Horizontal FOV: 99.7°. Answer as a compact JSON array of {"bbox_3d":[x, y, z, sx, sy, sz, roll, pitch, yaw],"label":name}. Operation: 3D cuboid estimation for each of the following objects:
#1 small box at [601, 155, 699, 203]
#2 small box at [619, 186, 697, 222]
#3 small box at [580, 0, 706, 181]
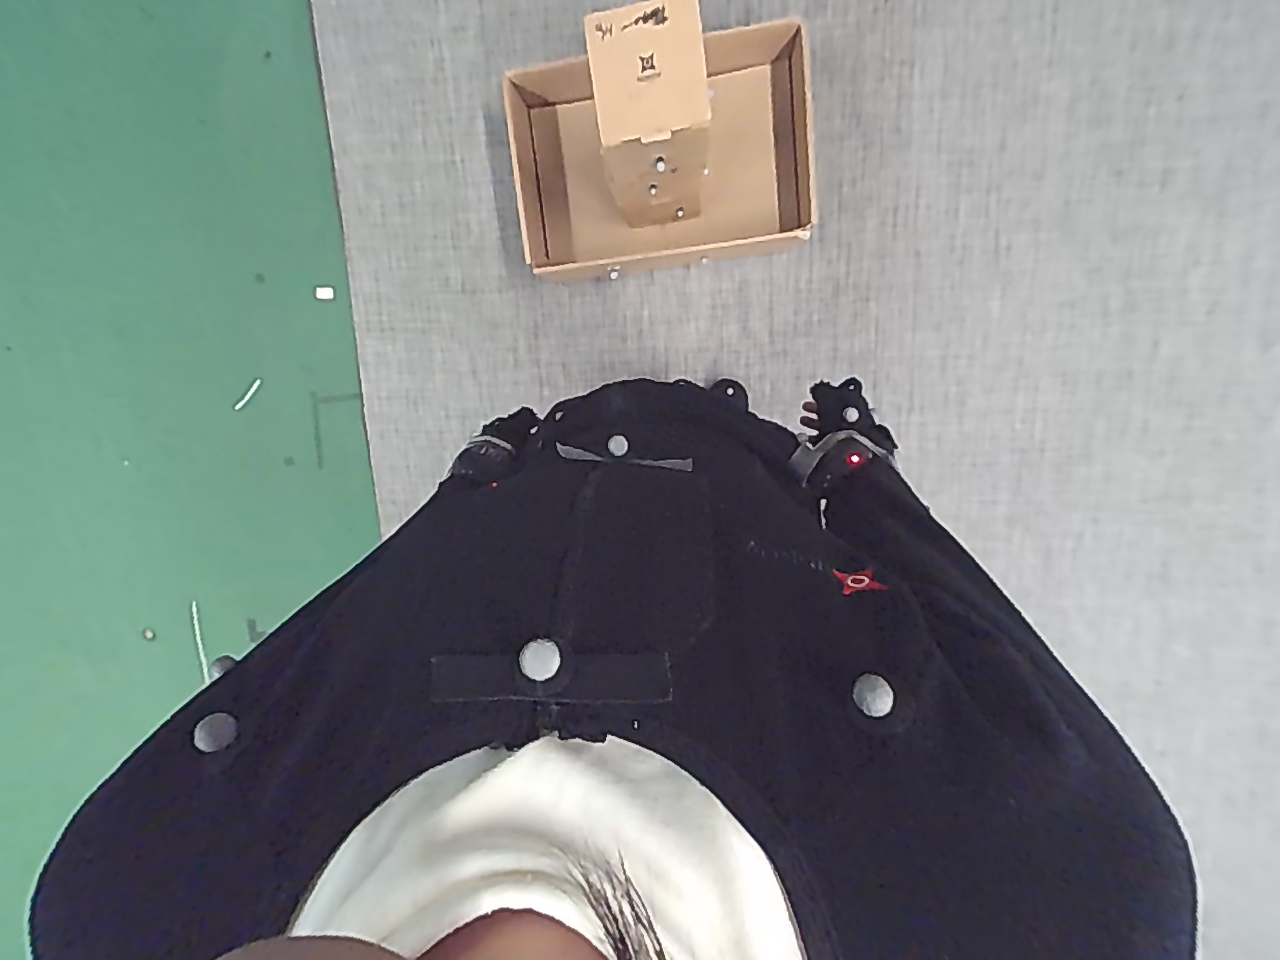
[{"bbox_3d":[0.020,-0.647,1.033,0.179,0.176,0.168,-4,100,7],"label":"small box"},{"bbox_3d":[0.035,-0.679,1.176,0.168,0.176,0.179,-6,99,7],"label":"small box"},{"bbox_3d":[0.014,-0.610,0.876,0.168,0.176,0.179,-9,99,9],"label":"small box"}]
